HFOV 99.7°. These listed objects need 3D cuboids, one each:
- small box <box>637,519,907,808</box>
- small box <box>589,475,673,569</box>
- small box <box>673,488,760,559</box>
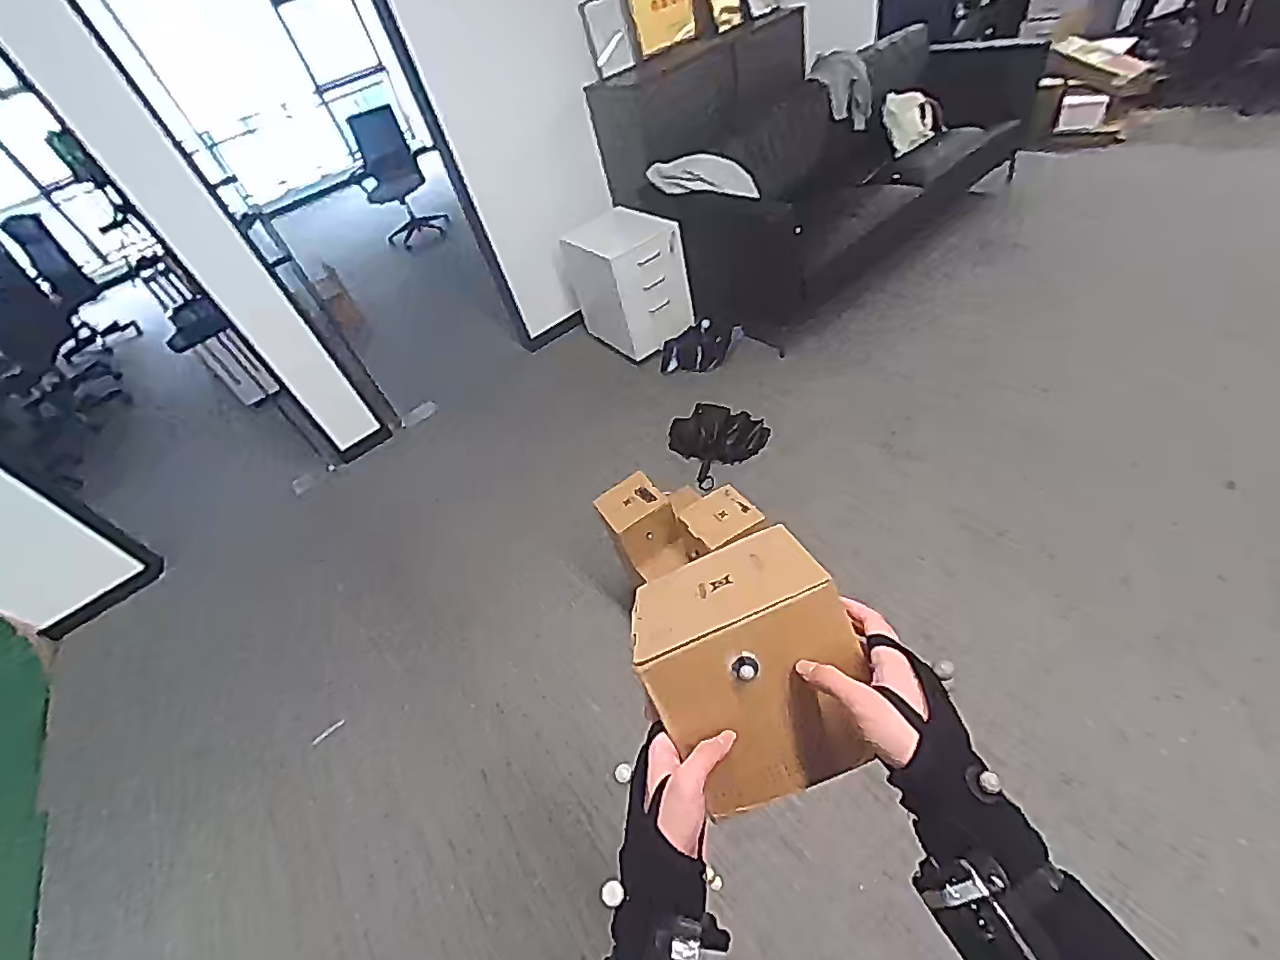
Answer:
[{"bbox_3d":[0.110,0.162,0.507,0.179,0.176,0.168,-24,9,3],"label":"small box"},{"bbox_3d":[-0.018,0.124,1.582,0.179,0.176,0.168,-32,45,-11],"label":"small box"},{"bbox_3d":[0.216,0.162,1.469,0.179,0.176,0.168,-29,44,-14],"label":"small box"}]
